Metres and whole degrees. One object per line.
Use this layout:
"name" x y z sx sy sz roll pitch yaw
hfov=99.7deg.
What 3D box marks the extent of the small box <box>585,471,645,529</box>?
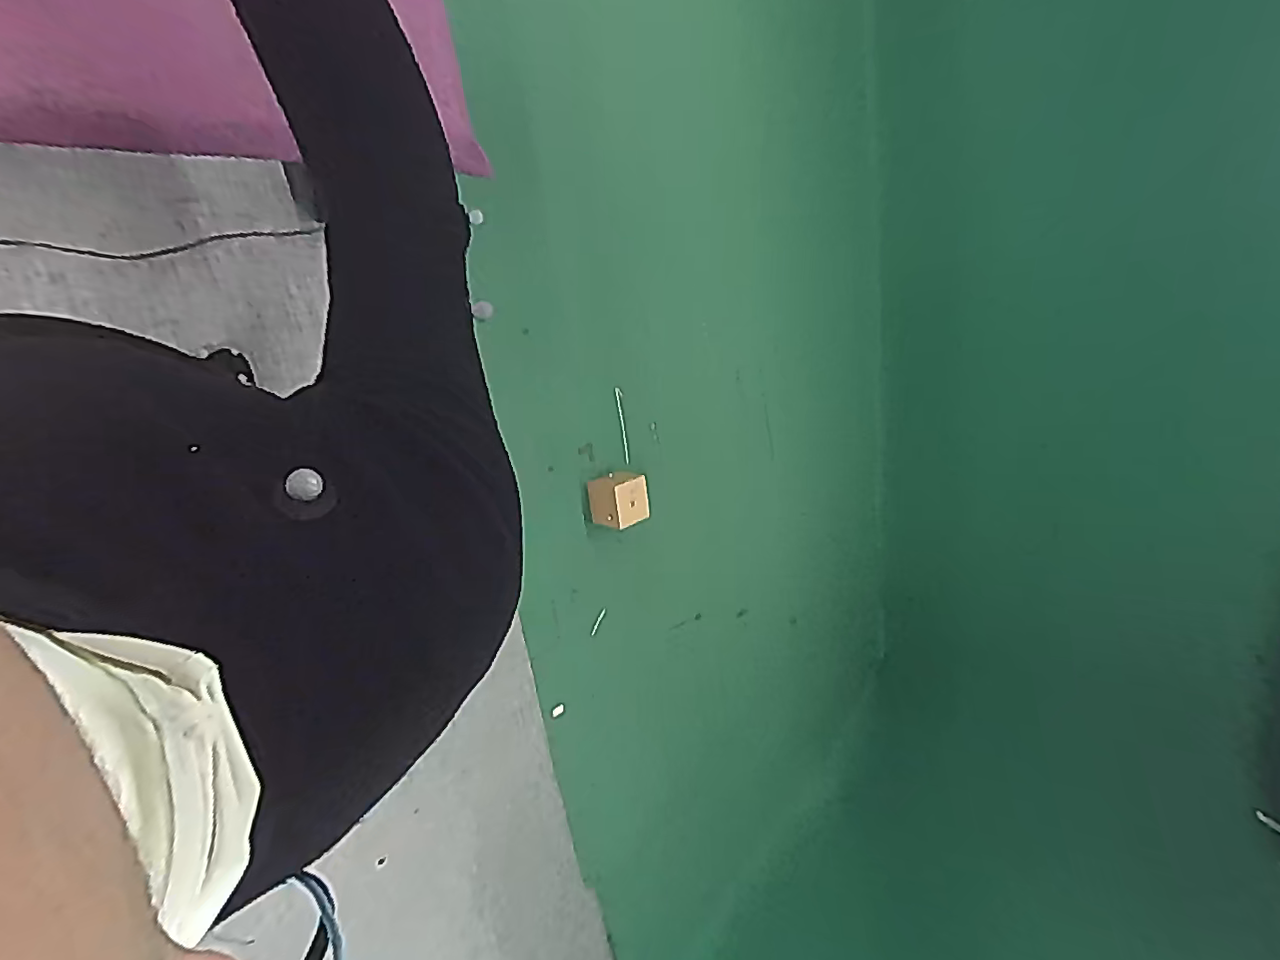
"small box" -0.100 0.075 2.144 0.168 0.176 0.179 -21 111 -41
